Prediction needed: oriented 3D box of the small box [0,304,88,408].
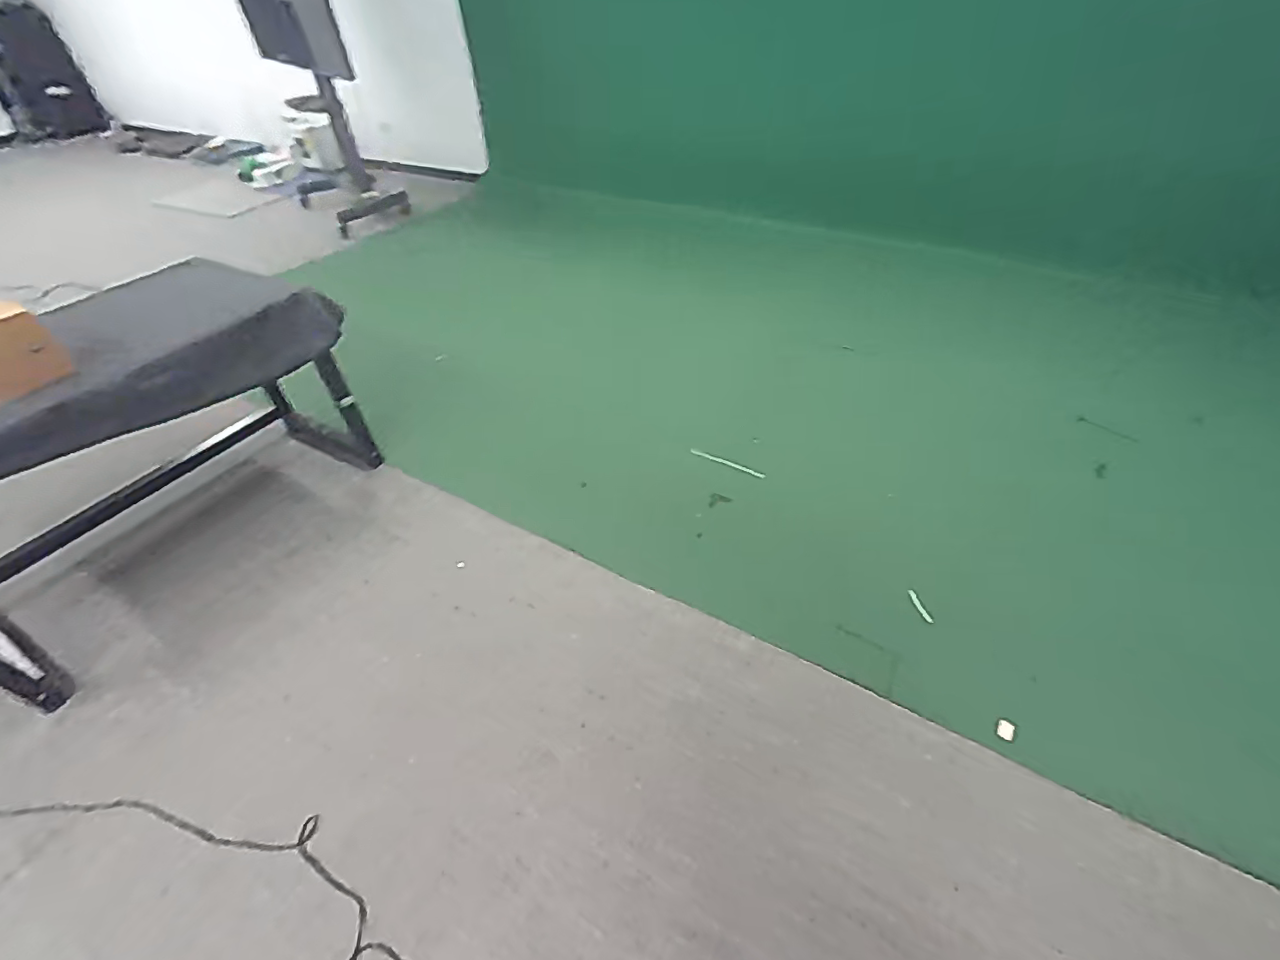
[{"bbox_3d":[-1.524,-0.303,1.323,0.168,0.176,0.179,18,49,23],"label":"small box"}]
